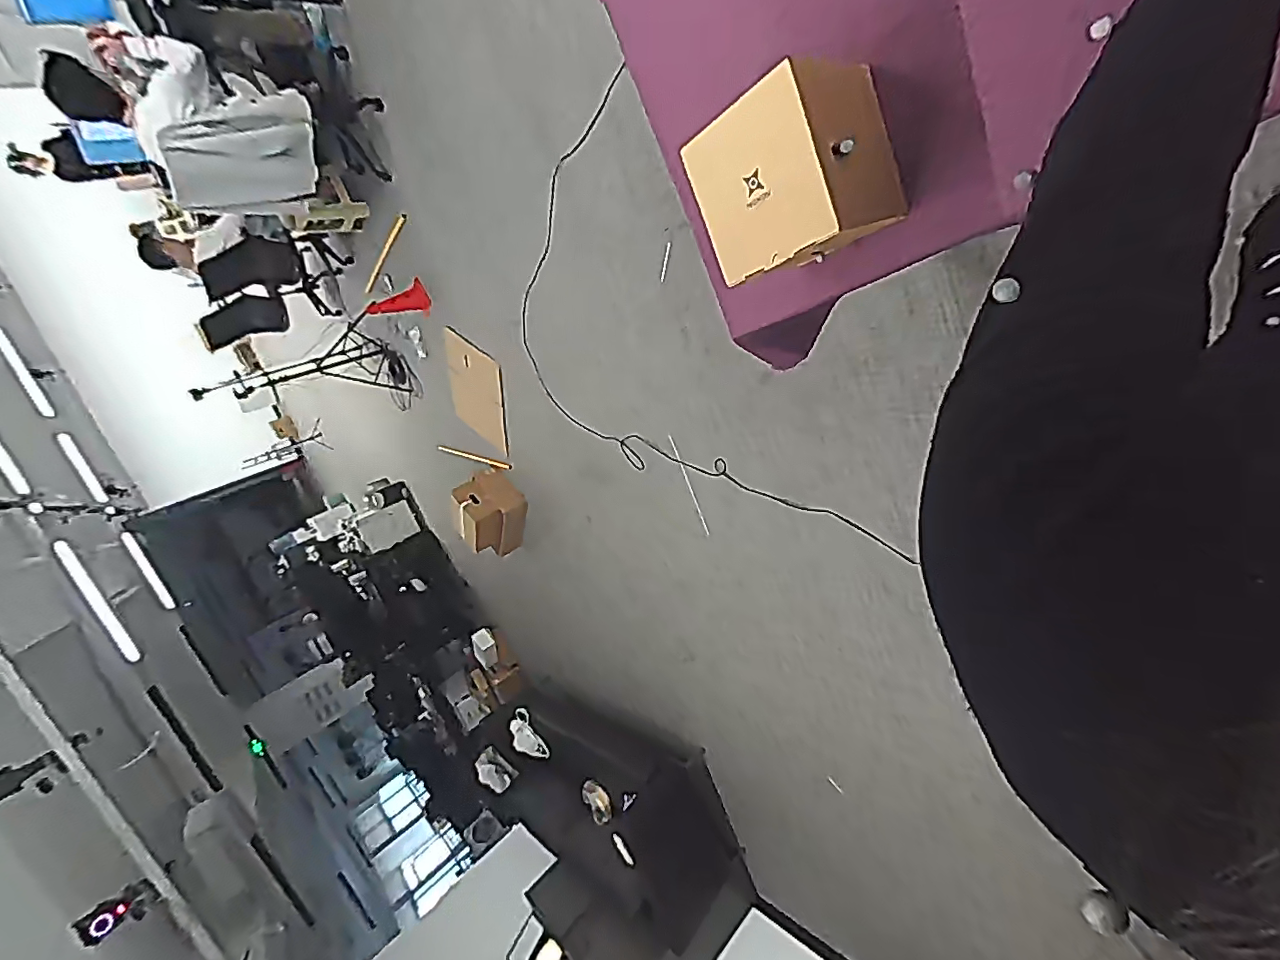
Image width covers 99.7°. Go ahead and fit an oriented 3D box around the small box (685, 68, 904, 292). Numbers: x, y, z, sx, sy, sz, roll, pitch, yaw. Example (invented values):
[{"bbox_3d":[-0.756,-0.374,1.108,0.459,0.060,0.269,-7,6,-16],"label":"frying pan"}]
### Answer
[{"bbox_3d":[0.191,-0.357,0.662,0.168,0.176,0.179,-8,108,53],"label":"small box"}]
